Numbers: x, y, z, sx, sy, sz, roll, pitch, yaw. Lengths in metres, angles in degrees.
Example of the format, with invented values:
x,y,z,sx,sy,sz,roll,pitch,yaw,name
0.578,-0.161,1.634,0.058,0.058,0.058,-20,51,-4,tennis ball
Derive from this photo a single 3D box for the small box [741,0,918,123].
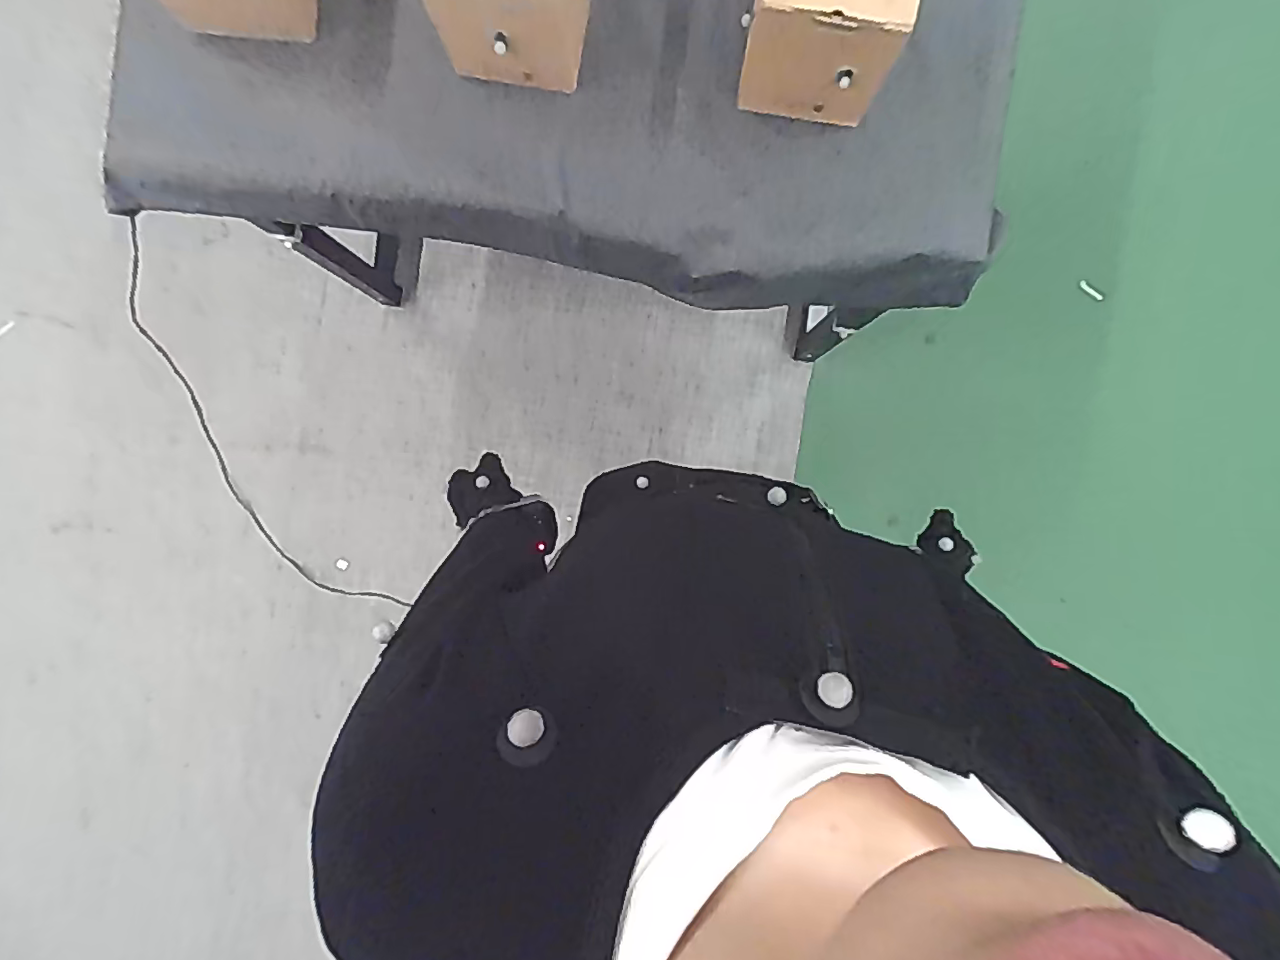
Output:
x,y,z,sx,sy,sz,roll,pitch,yaw,name
0.224,-0.574,0.652,0.168,0.176,0.179,9,90,0,small box

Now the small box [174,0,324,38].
x,y,z,sx,sy,sz,roll,pitch,yaw,name
-0.516,-0.688,0.659,0.179,0.176,0.168,5,91,0,small box

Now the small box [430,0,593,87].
x,y,z,sx,sy,sz,roll,pitch,yaw,name
-0.151,-0.625,0.656,0.168,0.176,0.179,10,91,1,small box
